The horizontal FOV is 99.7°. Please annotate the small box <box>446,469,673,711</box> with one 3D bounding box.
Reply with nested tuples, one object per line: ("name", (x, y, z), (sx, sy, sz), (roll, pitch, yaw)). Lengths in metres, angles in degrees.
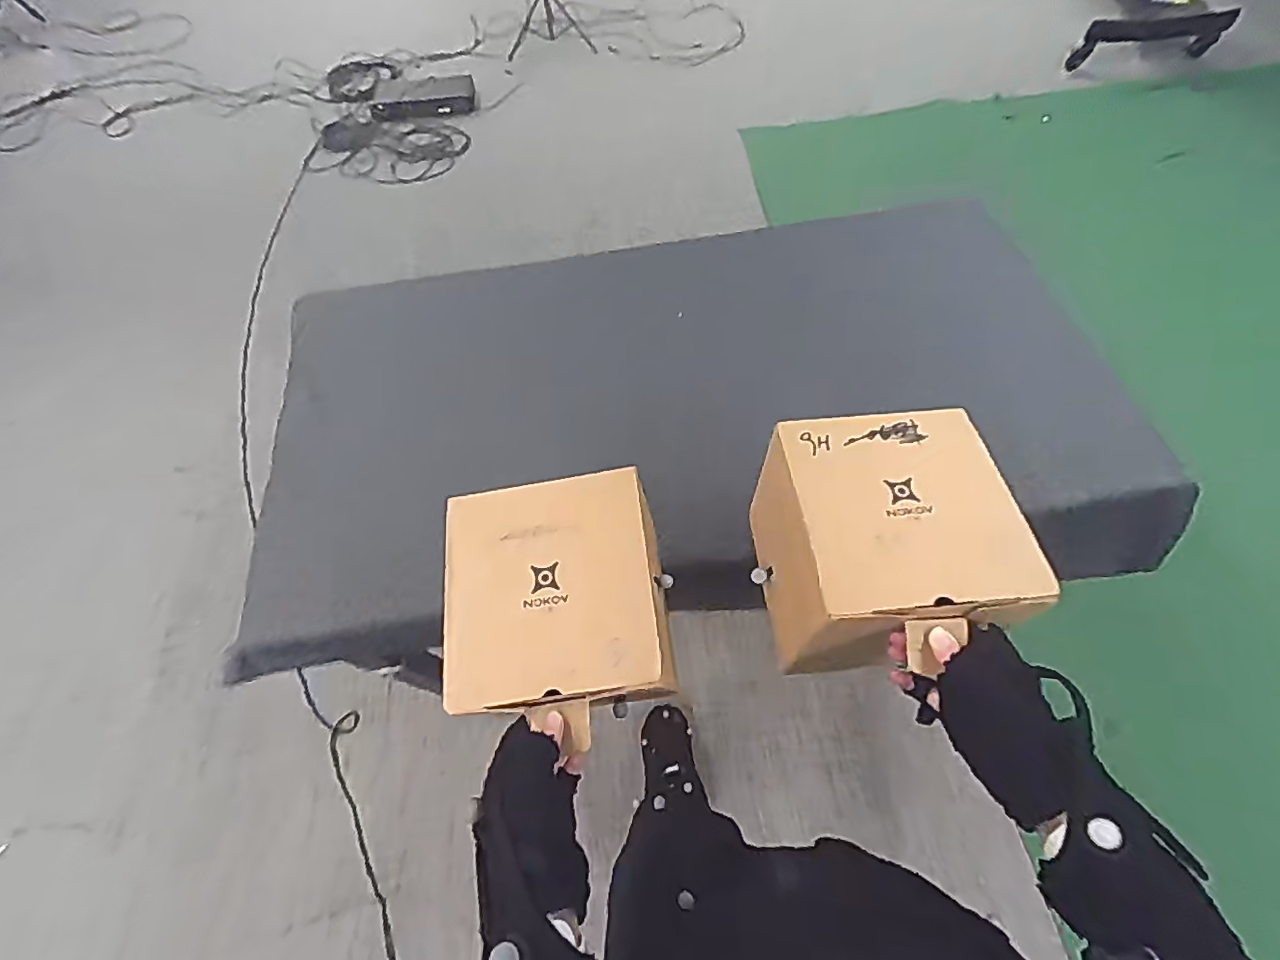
("small box", (-0.066, 0.113, 0.509), (0.168, 0.176, 0.179), (-11, 65, 3))
